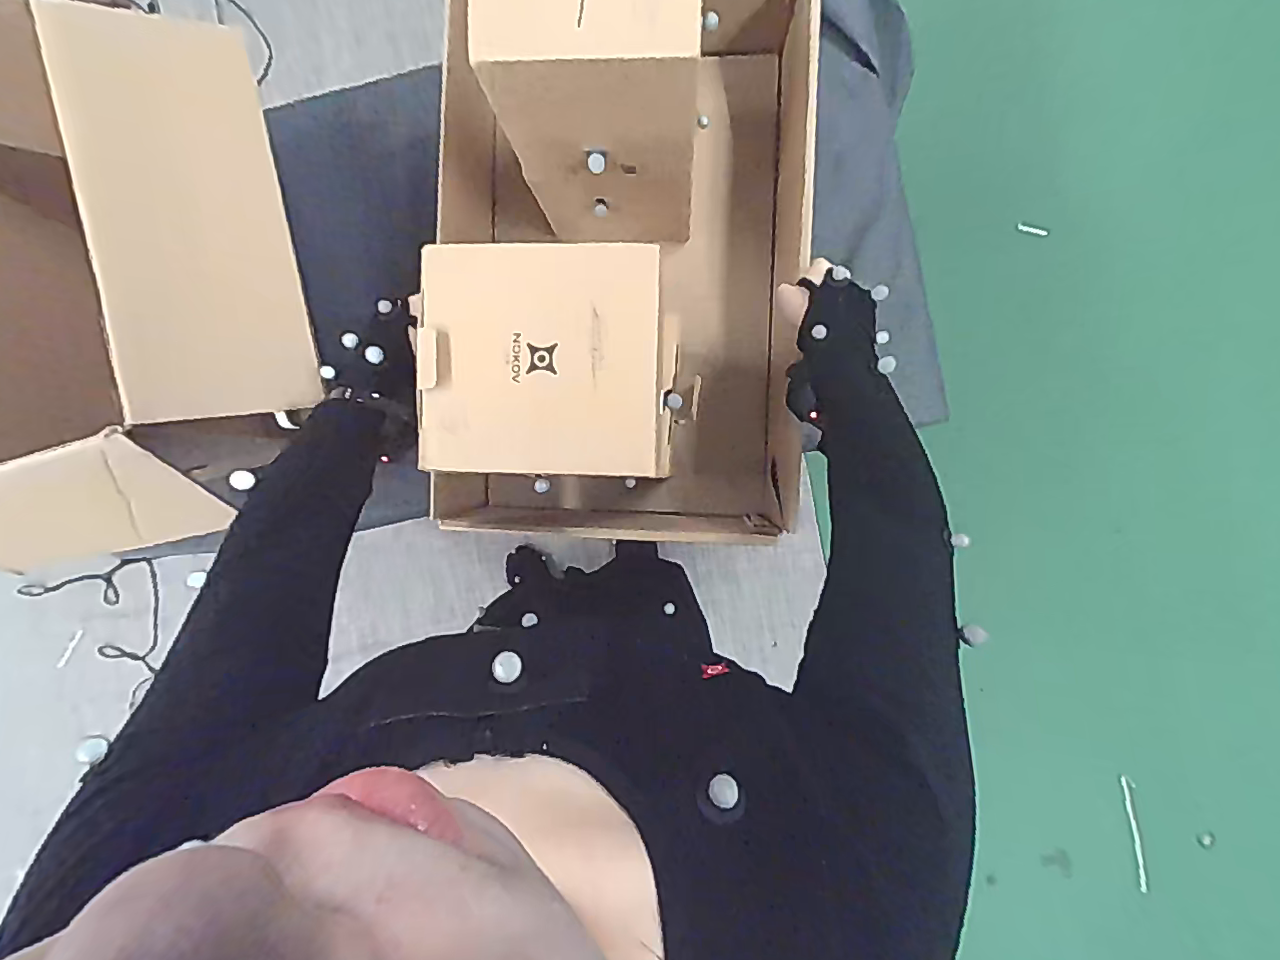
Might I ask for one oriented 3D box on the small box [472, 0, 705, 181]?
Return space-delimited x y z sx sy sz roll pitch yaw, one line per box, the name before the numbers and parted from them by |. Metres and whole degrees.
small box | -0.031 -0.384 0.456 0.168 0.176 0.179 2 94 3
